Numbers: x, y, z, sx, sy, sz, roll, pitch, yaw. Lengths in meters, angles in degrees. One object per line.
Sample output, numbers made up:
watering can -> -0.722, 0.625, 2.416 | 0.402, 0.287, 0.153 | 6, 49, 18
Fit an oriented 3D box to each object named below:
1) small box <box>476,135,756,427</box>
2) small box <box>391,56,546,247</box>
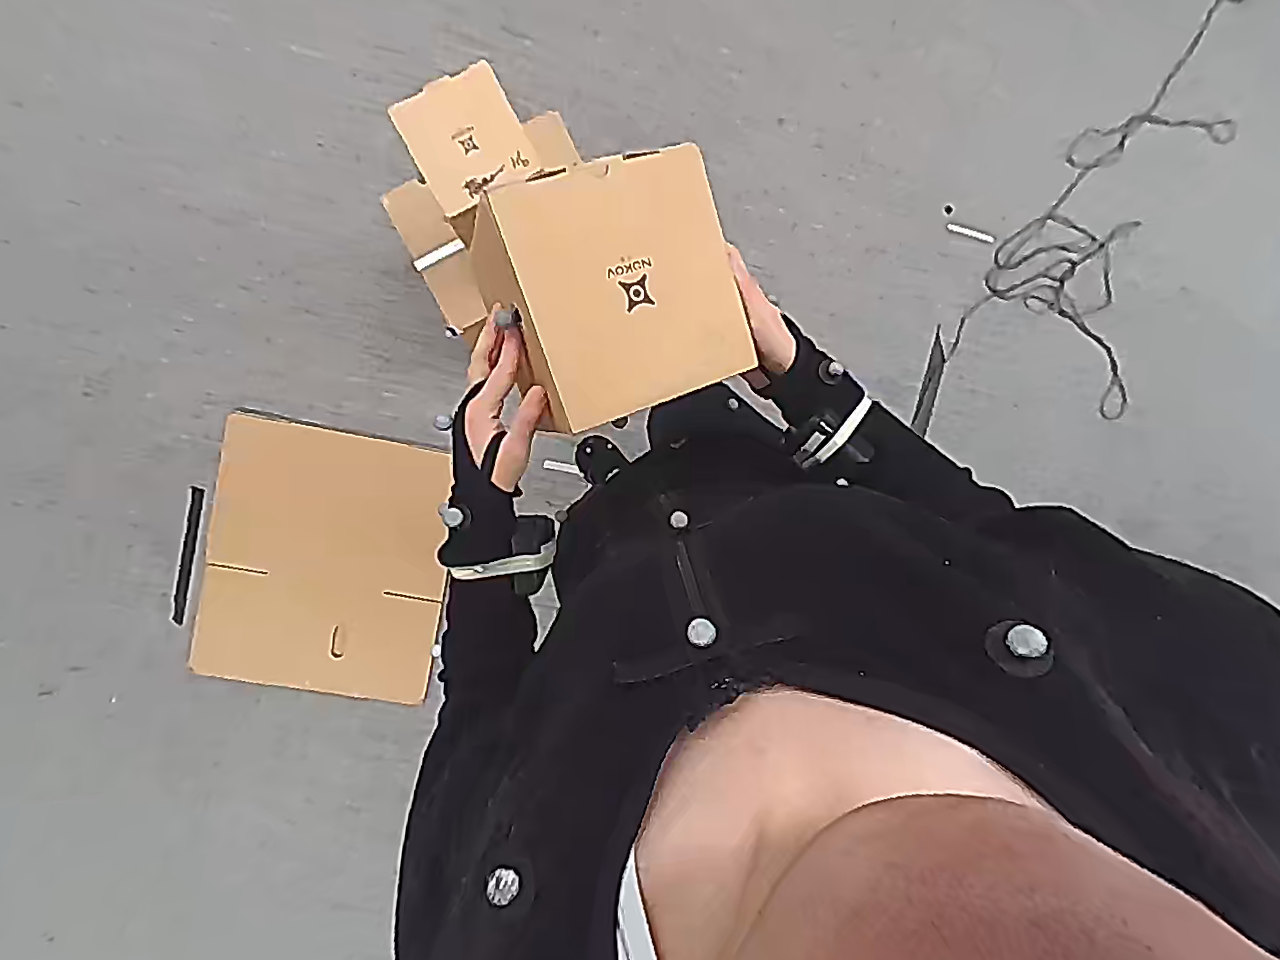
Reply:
small box -> -0.031, -0.154, 0.467 | 0.168, 0.176, 0.179 | -22, 102, -17
small box -> -0.256, -0.507, 0.866 | 0.168, 0.176, 0.179 | -29, 95, -2
